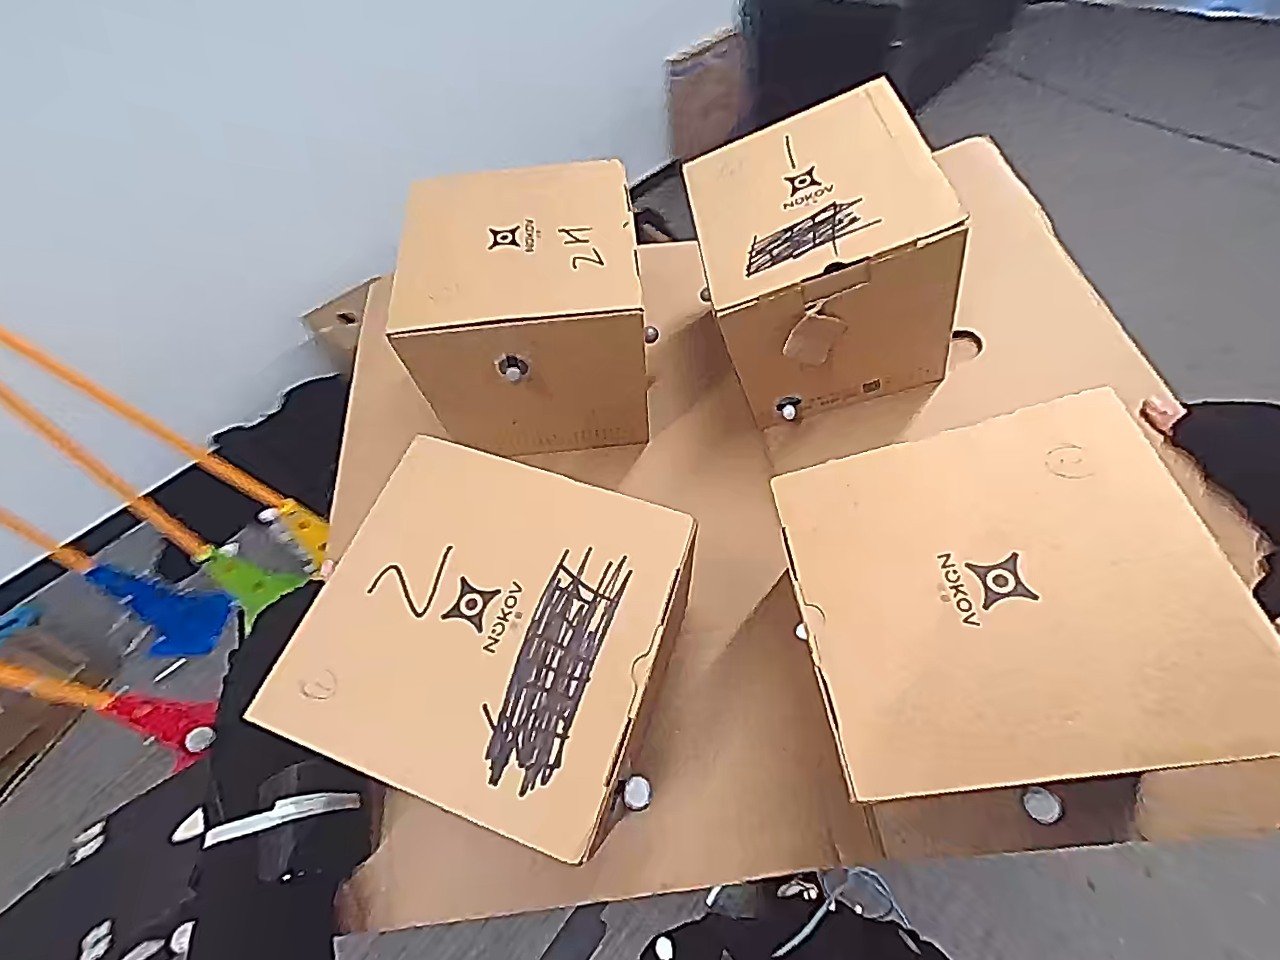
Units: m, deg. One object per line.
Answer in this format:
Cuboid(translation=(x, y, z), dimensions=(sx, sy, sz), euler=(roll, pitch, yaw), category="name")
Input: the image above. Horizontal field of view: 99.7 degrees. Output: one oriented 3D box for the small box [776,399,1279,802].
Cuboid(translation=(0.196, 0.082, 0.323), dimensions=(0.179, 0.176, 0.168), euler=(-16, 62, 18), category="small box")
